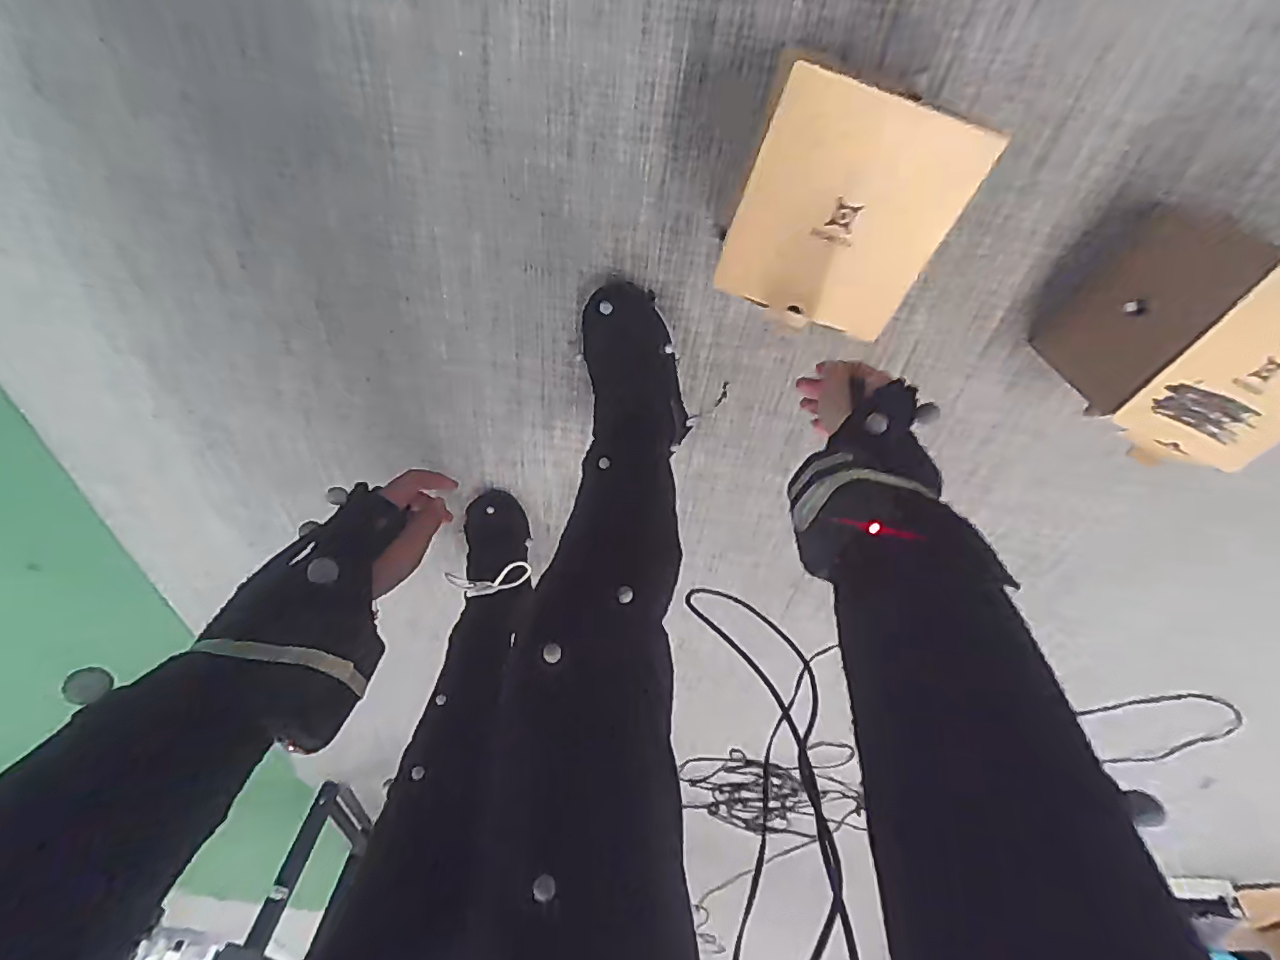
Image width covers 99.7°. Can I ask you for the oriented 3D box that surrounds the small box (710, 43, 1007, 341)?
[{"bbox_3d":[0.175,-0.265,0.492,0.168,0.176,0.179,20,133,-4],"label":"small box"}]
